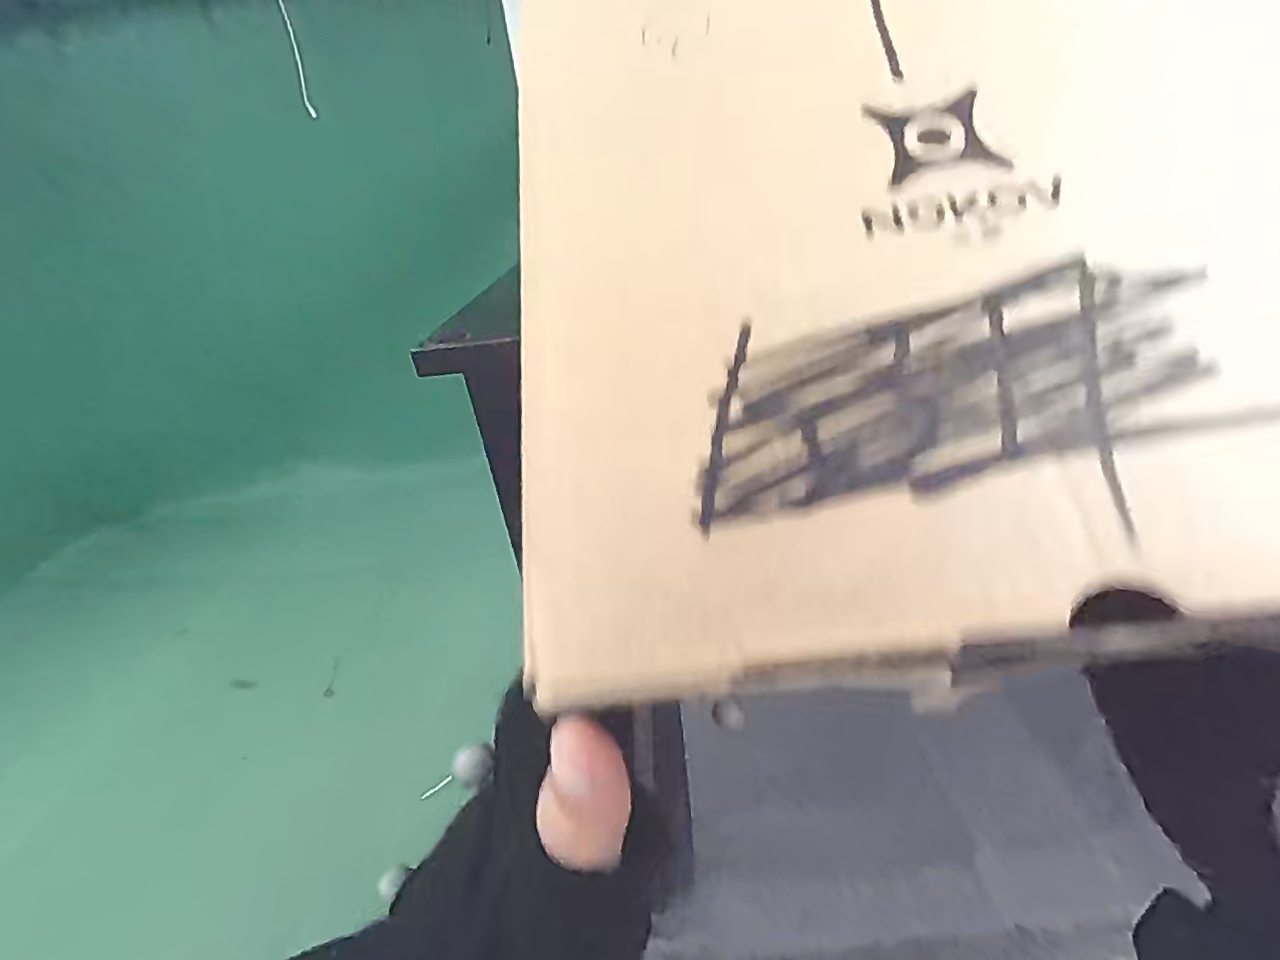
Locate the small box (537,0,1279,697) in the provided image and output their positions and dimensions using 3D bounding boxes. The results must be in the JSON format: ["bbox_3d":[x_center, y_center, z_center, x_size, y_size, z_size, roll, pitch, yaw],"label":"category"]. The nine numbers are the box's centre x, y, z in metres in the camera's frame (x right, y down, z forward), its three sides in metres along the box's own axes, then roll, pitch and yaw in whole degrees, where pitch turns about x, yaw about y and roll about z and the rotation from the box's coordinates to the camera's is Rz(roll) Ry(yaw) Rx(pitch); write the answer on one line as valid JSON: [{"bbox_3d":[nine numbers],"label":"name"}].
[{"bbox_3d":[0.070,-0.029,0.178,0.168,0.176,0.179,-7,67,5],"label":"small box"}]
